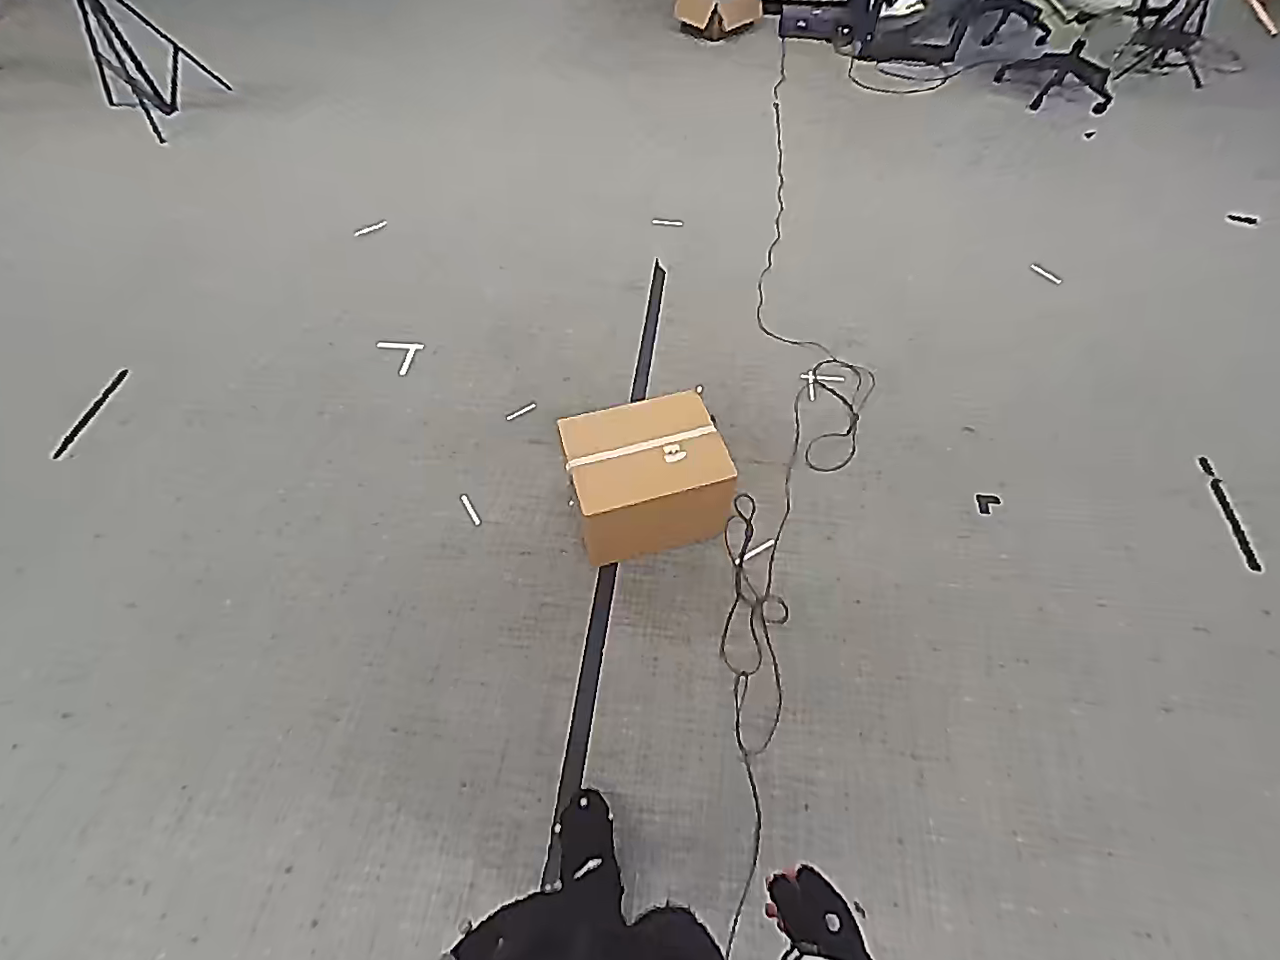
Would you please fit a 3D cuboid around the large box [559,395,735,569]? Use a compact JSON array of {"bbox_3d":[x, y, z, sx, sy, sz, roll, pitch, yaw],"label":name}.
[{"bbox_3d":[0.011,0.011,1.542,0.408,0.320,0.320,-14,58,-10],"label":"large box"}]
